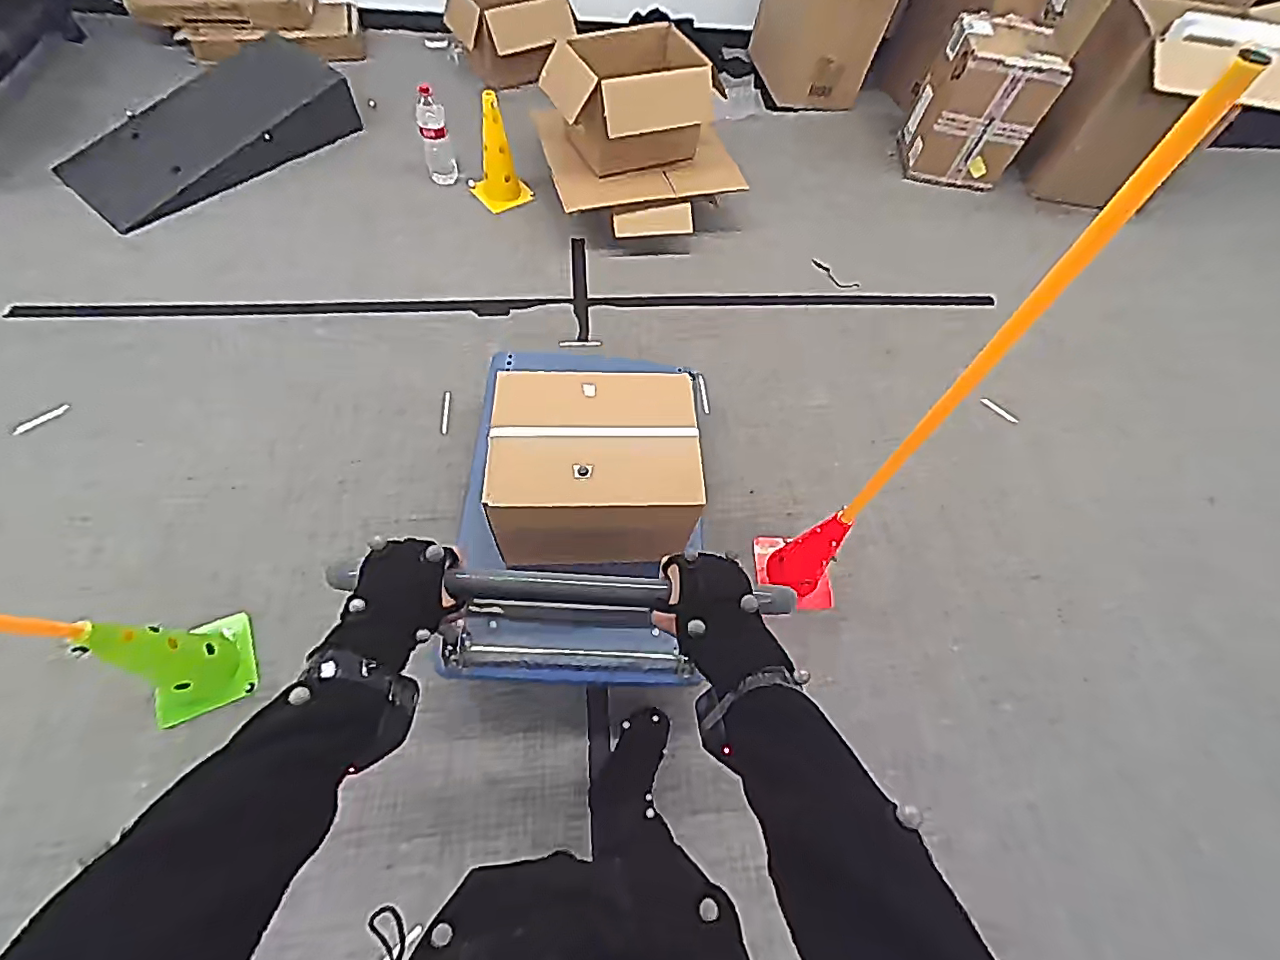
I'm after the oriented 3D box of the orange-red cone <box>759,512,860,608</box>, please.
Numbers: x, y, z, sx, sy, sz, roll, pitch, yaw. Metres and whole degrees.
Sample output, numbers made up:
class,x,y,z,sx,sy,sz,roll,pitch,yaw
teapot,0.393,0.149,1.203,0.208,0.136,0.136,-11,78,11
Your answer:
class,x,y,z,sx,sy,sz,roll,pitch,yaw
orange-red cone,0.439,0.166,1.312,0.199,0.360,0.198,4,62,-5

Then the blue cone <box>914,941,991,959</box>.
class,x,y,z,sx,sy,sz,roll,pitch,yaw
blue cone,0.651,0.958,0.913,0.193,0.380,0.192,-6,61,-9
